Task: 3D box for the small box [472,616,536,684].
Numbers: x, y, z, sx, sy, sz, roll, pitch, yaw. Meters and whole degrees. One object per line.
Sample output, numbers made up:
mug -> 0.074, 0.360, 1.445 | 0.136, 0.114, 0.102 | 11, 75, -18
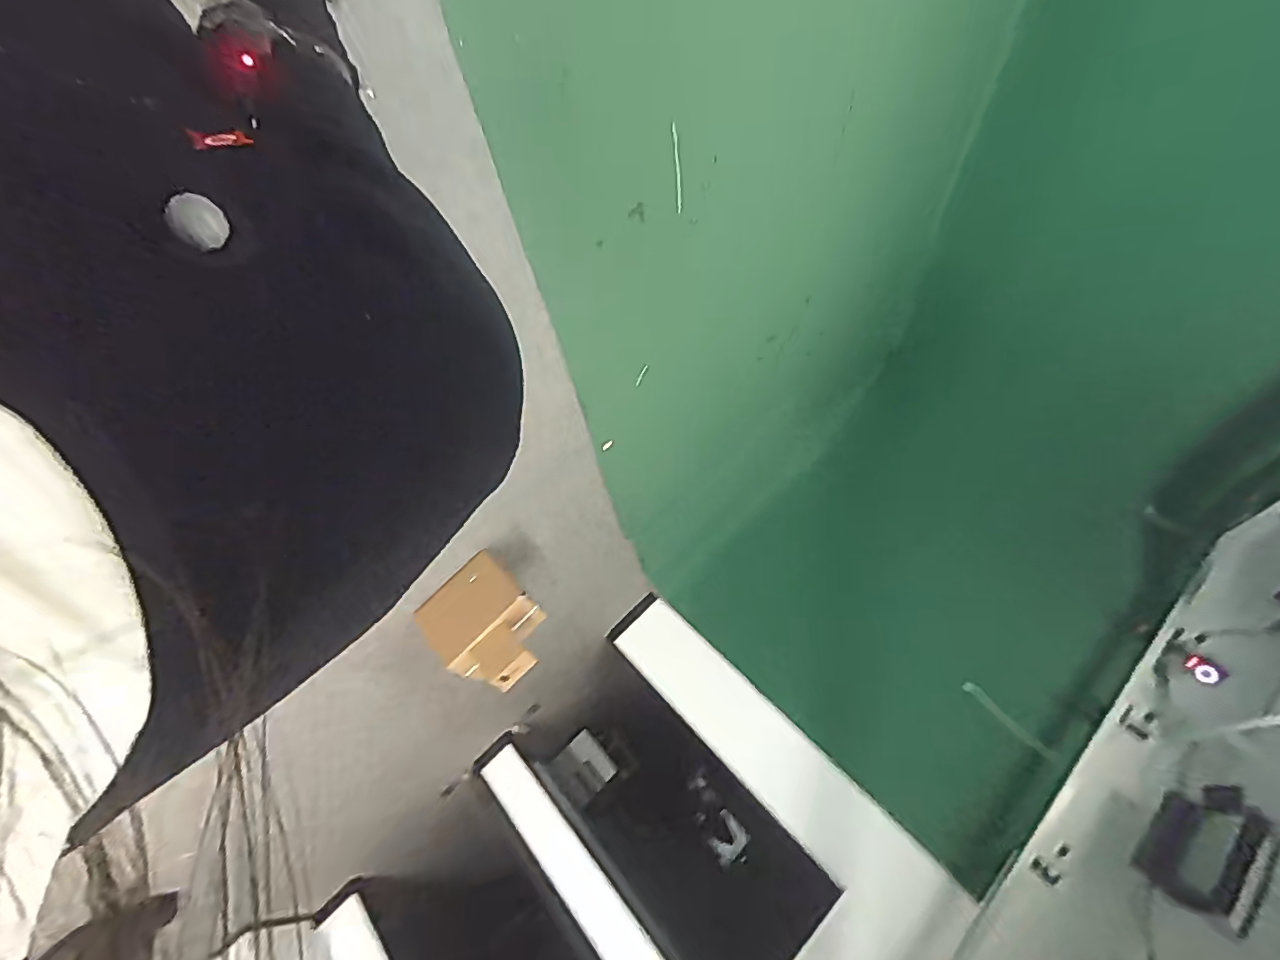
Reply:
small box -> -0.565, 0.699, 2.225 | 0.179, 0.176, 0.168 | -42, 150, -16
